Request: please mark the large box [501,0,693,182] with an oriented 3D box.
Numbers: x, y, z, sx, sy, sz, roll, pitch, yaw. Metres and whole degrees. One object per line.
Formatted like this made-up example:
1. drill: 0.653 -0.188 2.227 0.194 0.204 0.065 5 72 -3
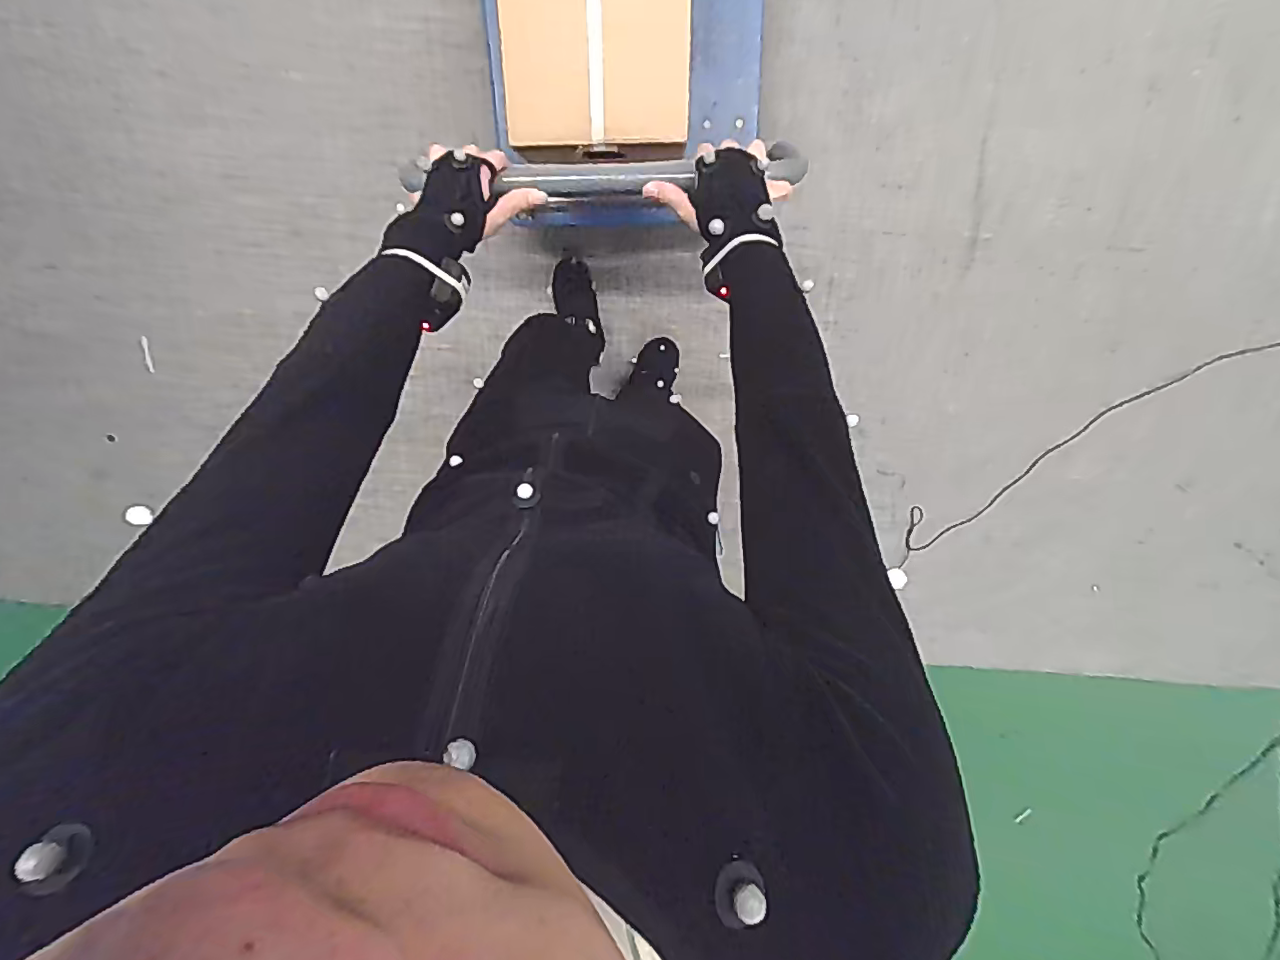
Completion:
1. large box: -0.064 -0.815 1.012 0.320 0.320 0.408 0 109 2
